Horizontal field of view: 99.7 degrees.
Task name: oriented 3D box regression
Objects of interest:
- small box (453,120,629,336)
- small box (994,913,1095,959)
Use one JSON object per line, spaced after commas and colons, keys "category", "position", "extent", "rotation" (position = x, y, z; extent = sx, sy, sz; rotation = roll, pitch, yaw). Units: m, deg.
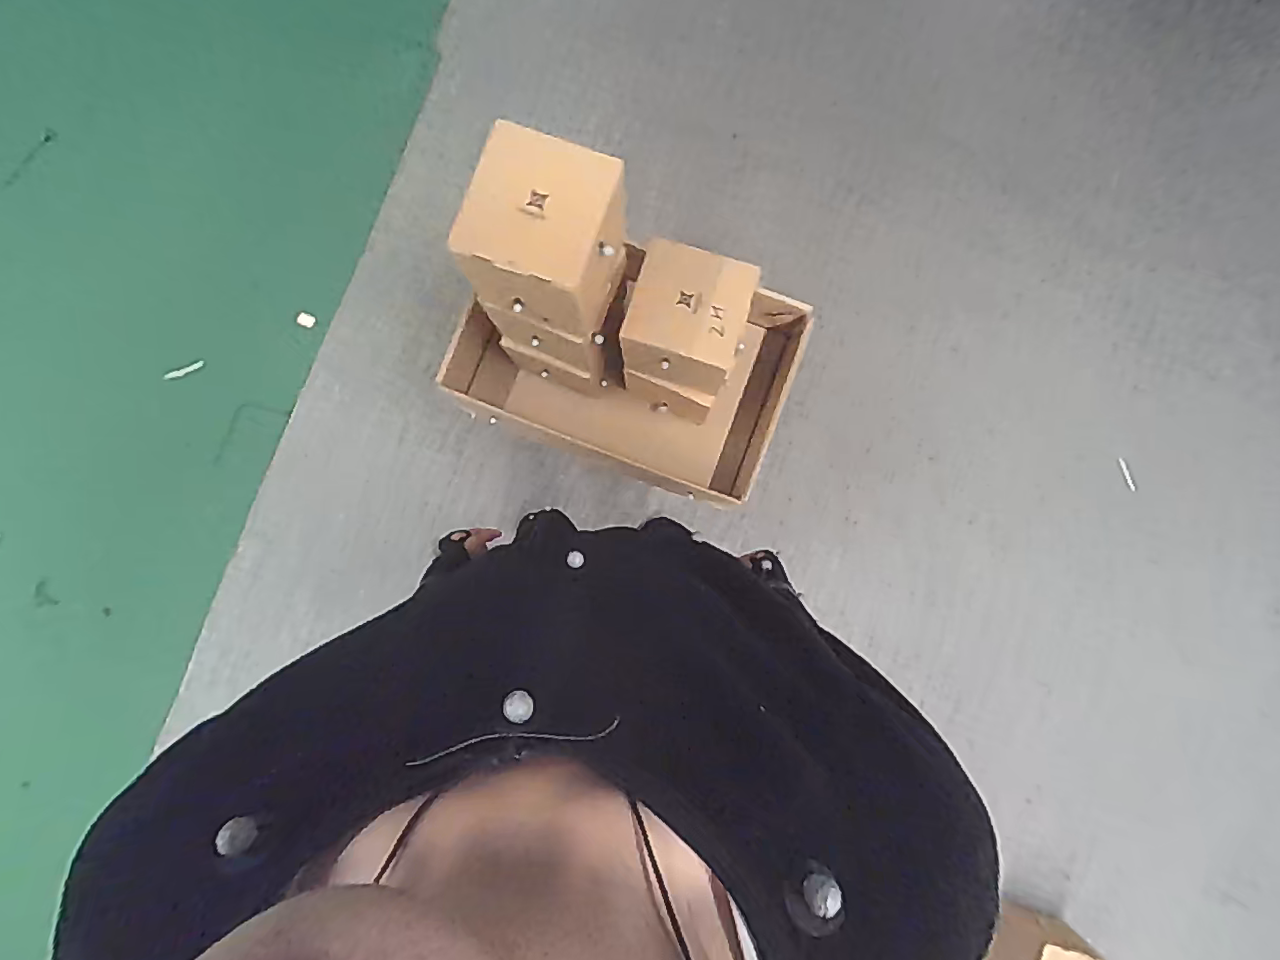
{"category": "small box", "position": [-0.120, -0.323, 0.726], "extent": [0.168, 0.176, 0.179], "rotation": [20, 86, 1]}
{"category": "small box", "position": [1.009, 1.223, 1.324], "extent": [0.168, 0.176, 0.179], "rotation": [19, 85, 3]}
